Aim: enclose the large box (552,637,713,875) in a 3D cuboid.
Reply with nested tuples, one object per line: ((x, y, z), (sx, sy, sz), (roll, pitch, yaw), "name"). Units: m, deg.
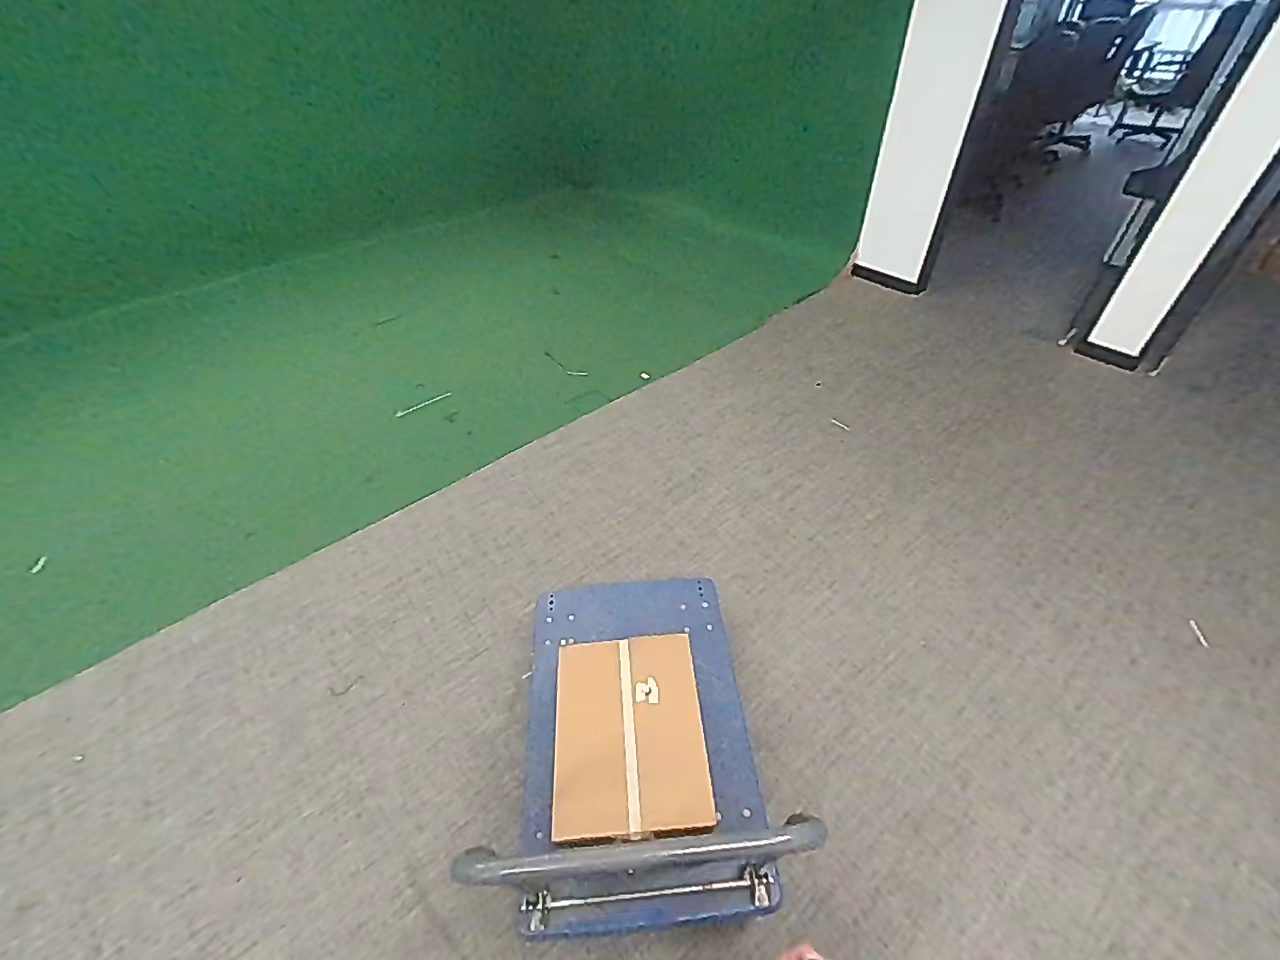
((-0.019, 0.639, 1.267), (0.320, 0.320, 0.408), (-5, 43, -1), "large box")
